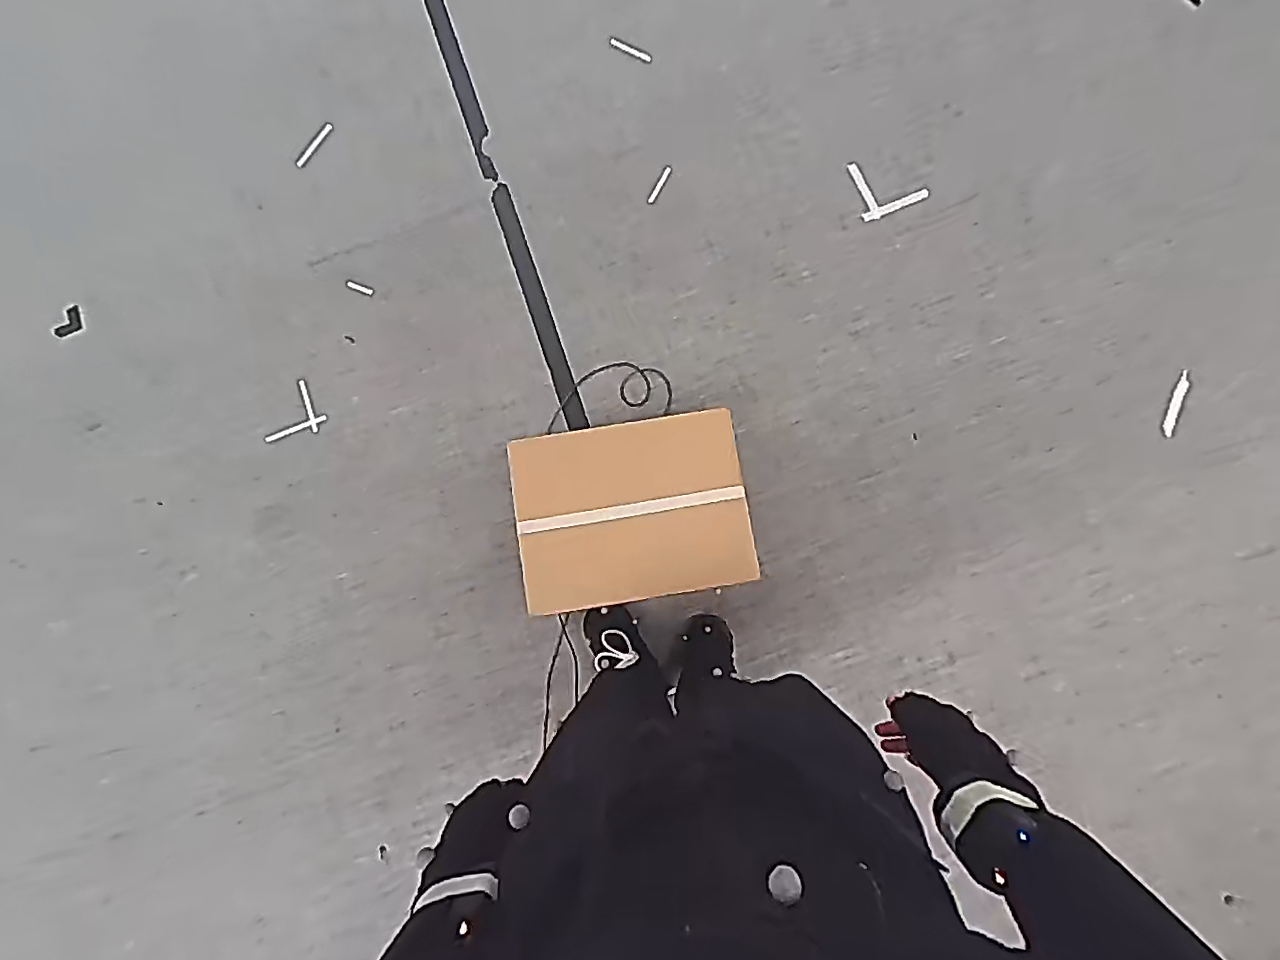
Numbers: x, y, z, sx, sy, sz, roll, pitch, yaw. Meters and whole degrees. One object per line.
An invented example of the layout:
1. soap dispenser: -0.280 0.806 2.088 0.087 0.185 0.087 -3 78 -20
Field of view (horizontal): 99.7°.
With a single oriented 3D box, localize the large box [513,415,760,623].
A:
1. large box: -0.007 0.085 1.099 0.408 0.320 0.320 -9 81 -1
